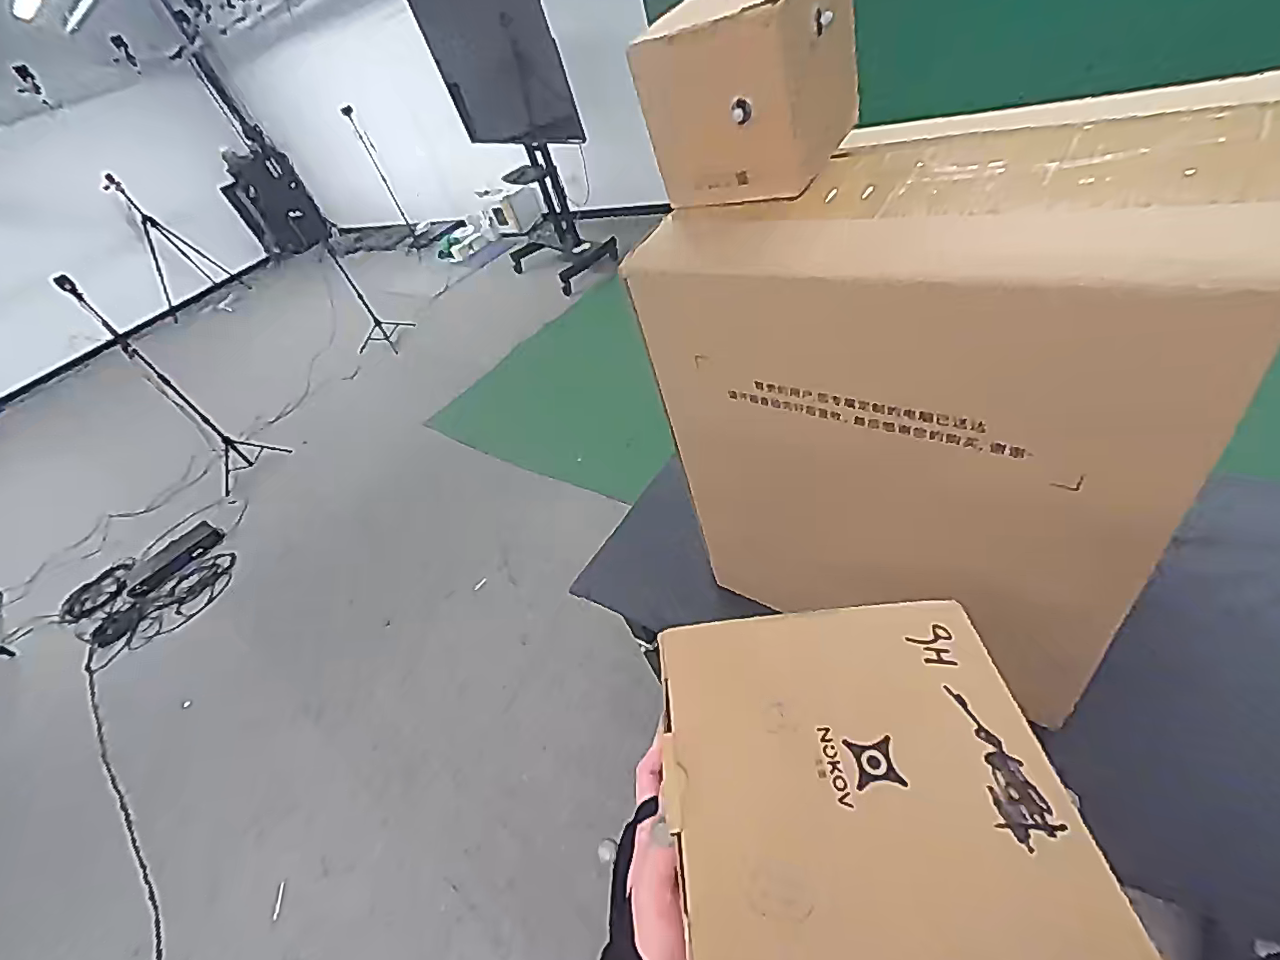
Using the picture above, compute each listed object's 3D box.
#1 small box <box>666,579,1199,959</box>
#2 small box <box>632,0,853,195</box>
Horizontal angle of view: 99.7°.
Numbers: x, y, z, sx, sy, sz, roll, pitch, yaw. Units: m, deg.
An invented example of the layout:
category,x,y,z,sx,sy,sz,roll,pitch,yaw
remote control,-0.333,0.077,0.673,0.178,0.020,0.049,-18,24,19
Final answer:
category,x,y,z,sx,sy,sz,roll,pitch,yaw
small box,0.113,0.179,0.300,0.179,0.176,0.168,-6,42,1
small box,0.124,-0.428,0.588,0.168,0.176,0.179,16,56,34
